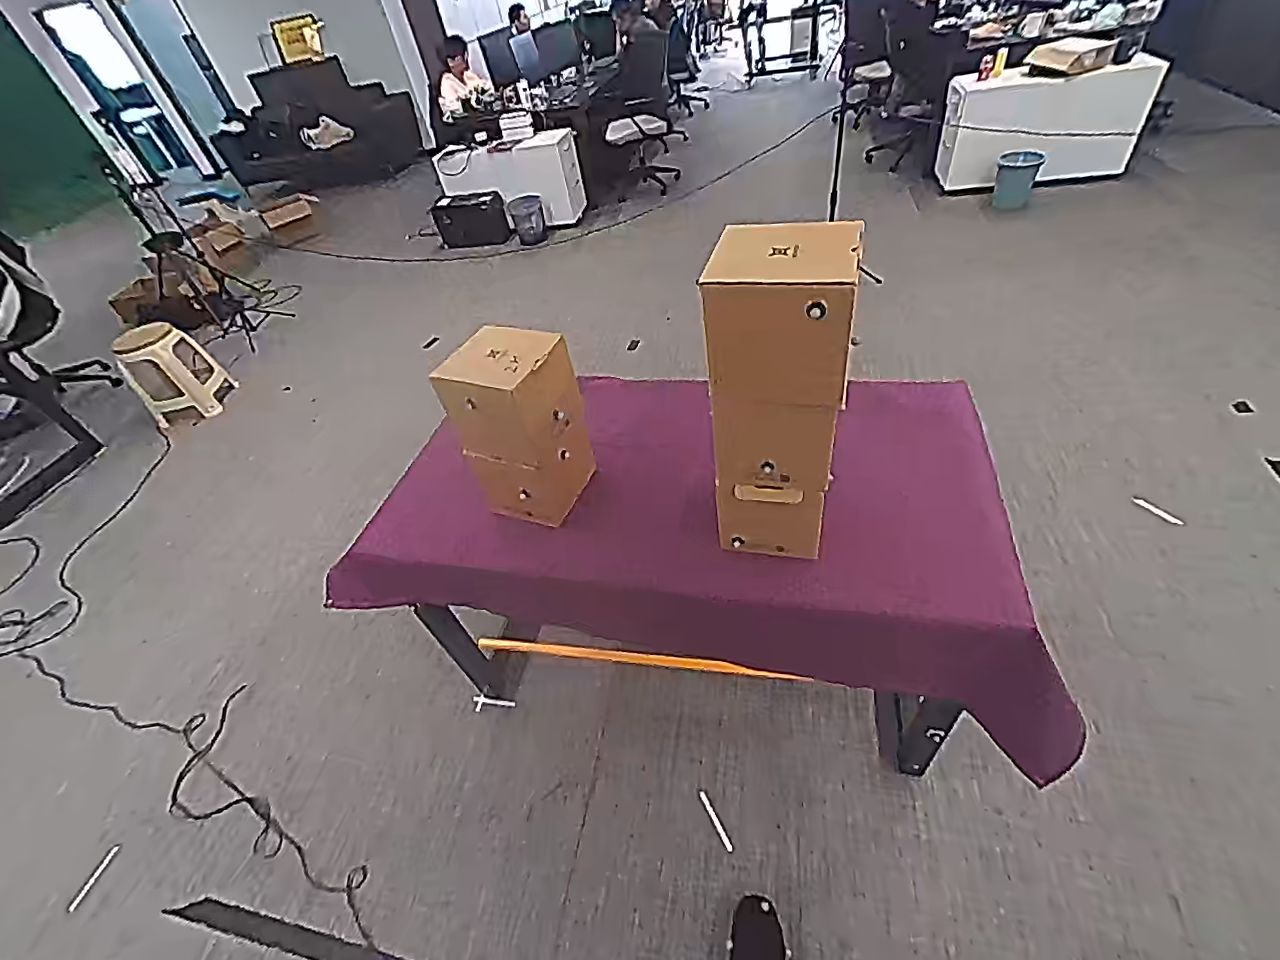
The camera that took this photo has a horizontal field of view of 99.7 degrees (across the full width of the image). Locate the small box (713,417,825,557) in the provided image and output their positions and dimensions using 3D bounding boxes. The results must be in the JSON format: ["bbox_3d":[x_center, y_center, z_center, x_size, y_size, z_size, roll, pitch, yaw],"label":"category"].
[{"bbox_3d":[0.227,0.012,0.936,0.168,0.176,0.179,5,45,17],"label":"small box"}]

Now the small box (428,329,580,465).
[{"bbox_3d":[-0.231,-0.148,0.965,0.179,0.176,0.168,13,50,22],"label":"small box"}]

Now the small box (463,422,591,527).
[{"bbox_3d":[-0.213,-0.032,1.080,0.168,0.176,0.179,12,49,22],"label":"small box"}]

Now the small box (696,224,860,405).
[{"bbox_3d":[0.181,-0.214,0.705,0.179,0.176,0.168,7,48,18],"label":"small box"}]
